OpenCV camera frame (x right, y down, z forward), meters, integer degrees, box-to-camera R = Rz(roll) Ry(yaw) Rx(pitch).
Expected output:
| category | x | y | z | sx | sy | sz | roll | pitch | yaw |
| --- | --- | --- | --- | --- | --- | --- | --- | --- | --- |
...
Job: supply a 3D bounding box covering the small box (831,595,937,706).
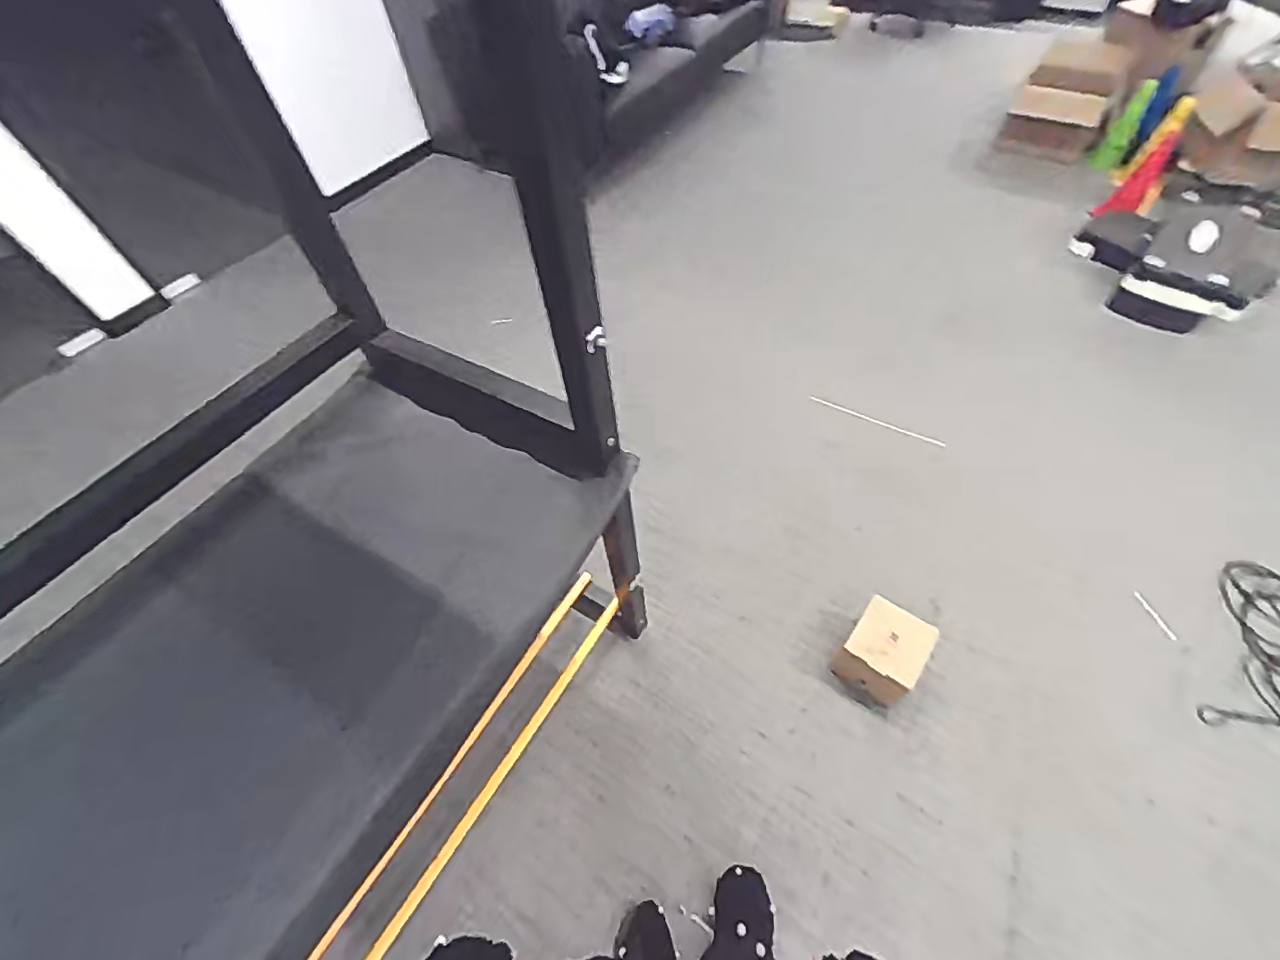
| category | x | y | z | sx | sy | sz | roll | pitch | yaw |
| --- | --- | --- | --- | --- | --- | --- | --- | --- | --- |
| small box | 0.600 | 0.428 | 1.351 | 0.168 | 0.176 | 0.179 | 31 | 63 | 24 |
